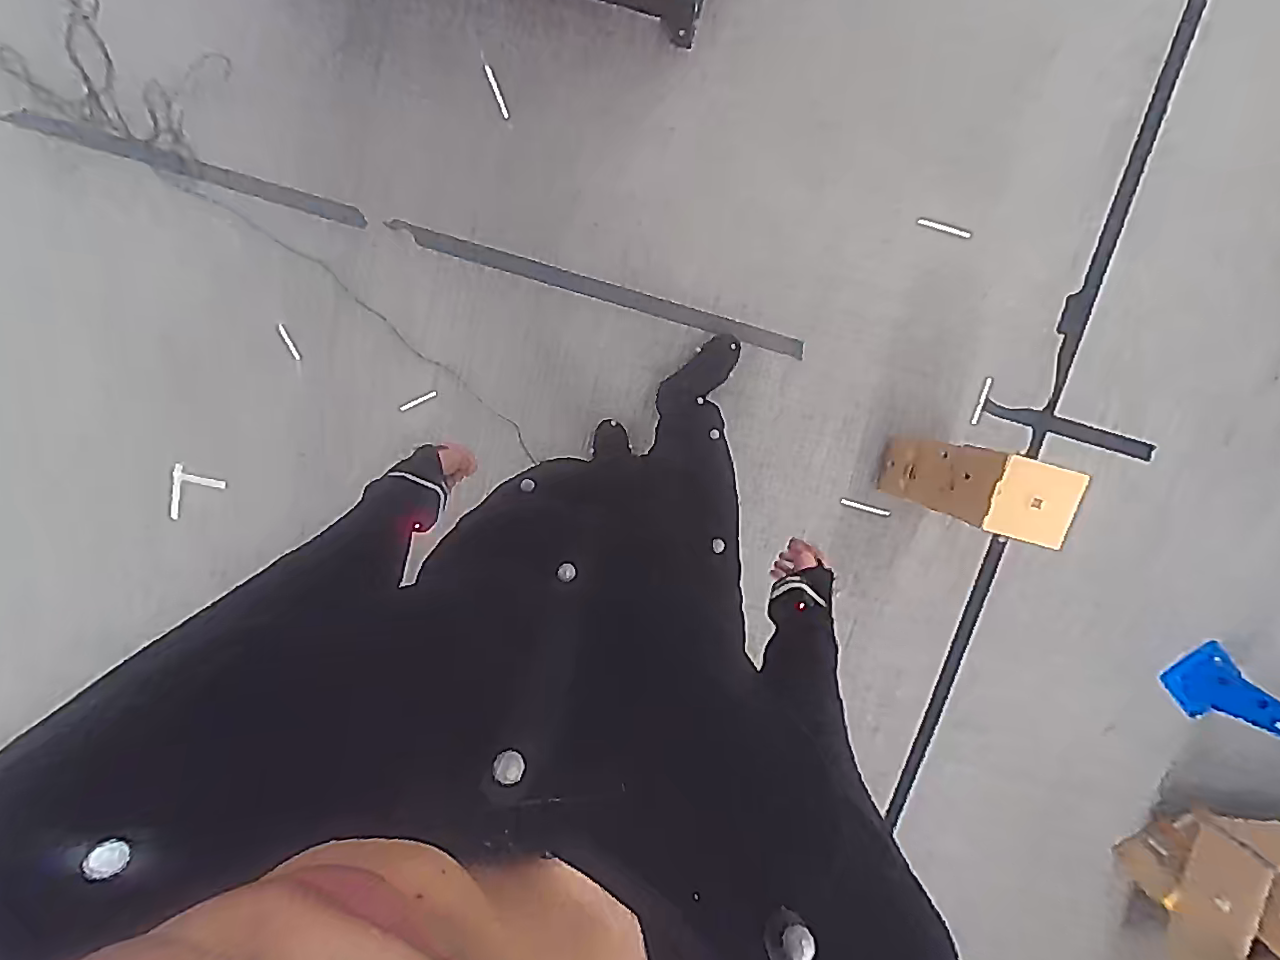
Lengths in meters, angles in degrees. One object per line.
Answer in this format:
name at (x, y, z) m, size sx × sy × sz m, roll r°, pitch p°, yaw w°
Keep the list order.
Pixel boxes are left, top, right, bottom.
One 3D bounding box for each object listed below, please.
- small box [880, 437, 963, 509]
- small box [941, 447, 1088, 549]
small box at (0.807, -0.020, 1.512) m, size 0.179 × 0.176 × 0.168 m, roll 12°, pitch 100°, yaw 0°
small box at (0.810, 0.032, 1.189) m, size 0.179 × 0.176 × 0.168 m, roll 15°, pitch 100°, yaw -2°
